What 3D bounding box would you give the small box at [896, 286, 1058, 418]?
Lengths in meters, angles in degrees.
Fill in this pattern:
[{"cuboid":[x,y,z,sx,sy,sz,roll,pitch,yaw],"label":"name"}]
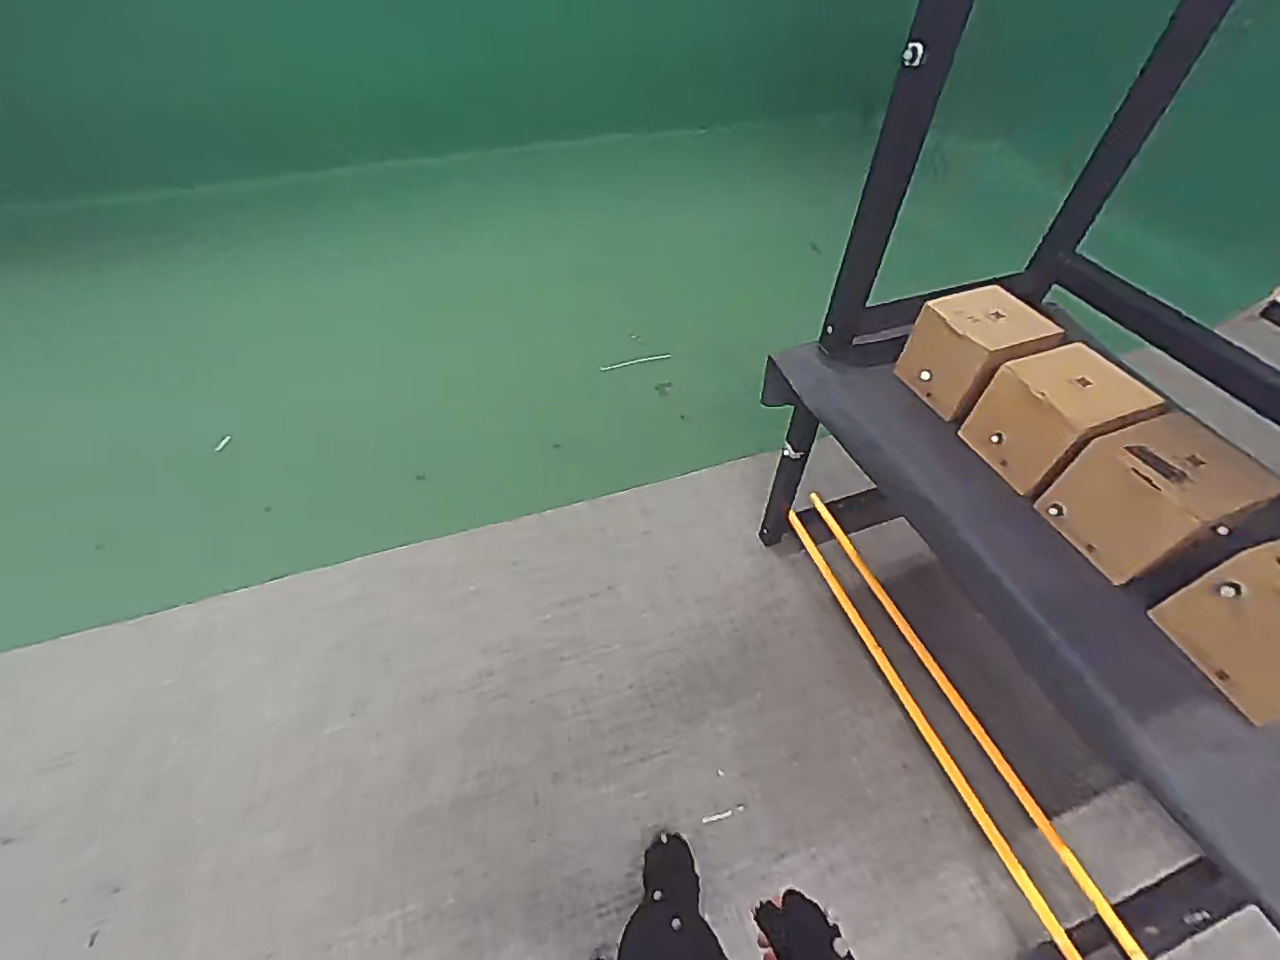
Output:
[{"cuboid":[0.644,-0.249,1.059,0.179,0.176,0.168,-17,52,-13],"label":"small box"}]
